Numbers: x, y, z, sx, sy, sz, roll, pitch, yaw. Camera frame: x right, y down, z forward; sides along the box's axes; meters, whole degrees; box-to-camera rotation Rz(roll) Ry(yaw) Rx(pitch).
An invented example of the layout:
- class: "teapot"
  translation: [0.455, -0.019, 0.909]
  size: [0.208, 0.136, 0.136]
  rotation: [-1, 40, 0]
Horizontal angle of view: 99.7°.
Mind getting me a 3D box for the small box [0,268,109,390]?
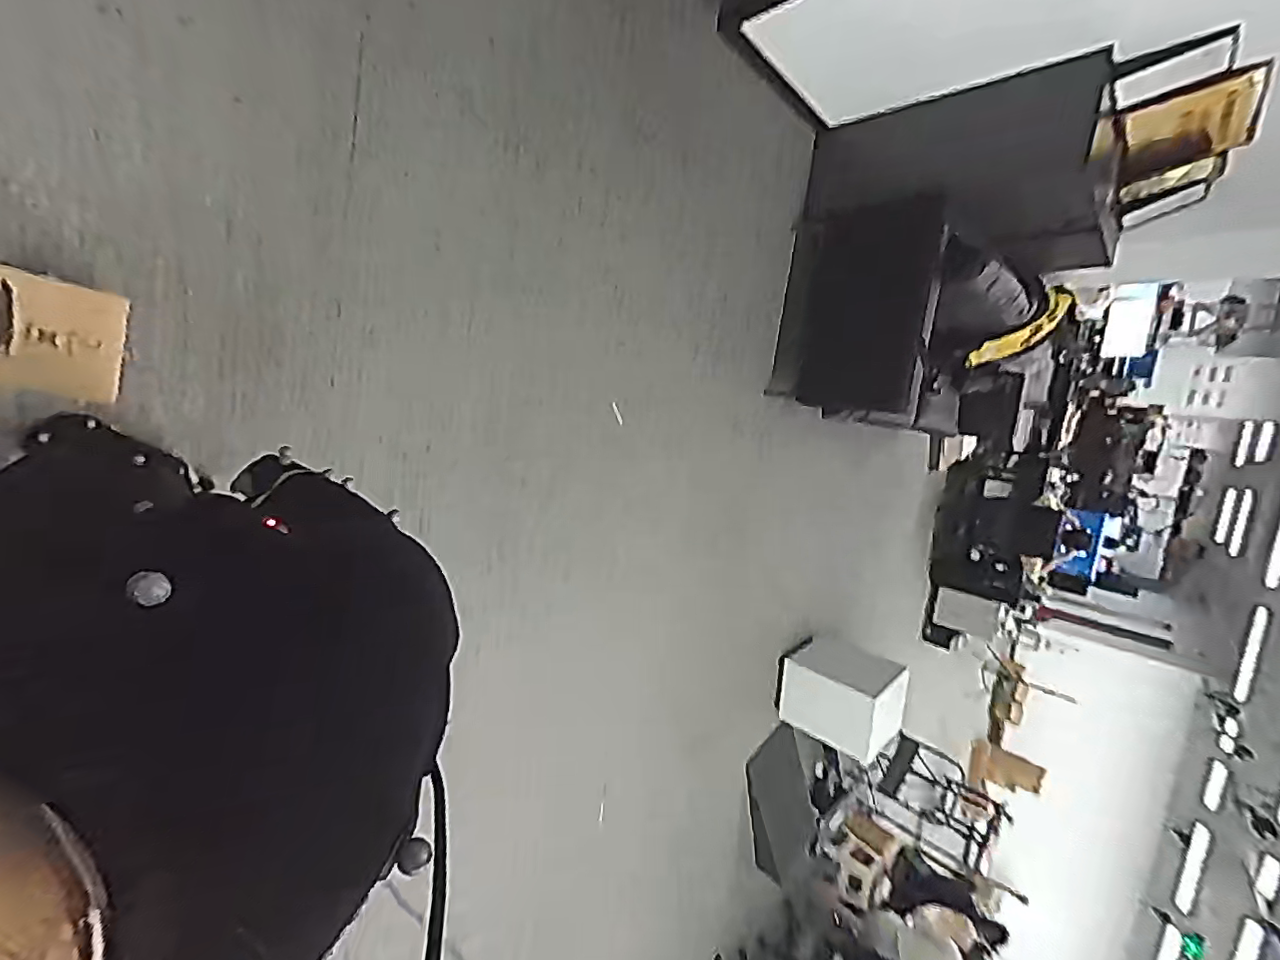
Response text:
- class: "small box"
  translation: [-1.040, -0.259, 0.916]
  size: [0.179, 0.176, 0.168]
  rotation: [11, 92, -47]
